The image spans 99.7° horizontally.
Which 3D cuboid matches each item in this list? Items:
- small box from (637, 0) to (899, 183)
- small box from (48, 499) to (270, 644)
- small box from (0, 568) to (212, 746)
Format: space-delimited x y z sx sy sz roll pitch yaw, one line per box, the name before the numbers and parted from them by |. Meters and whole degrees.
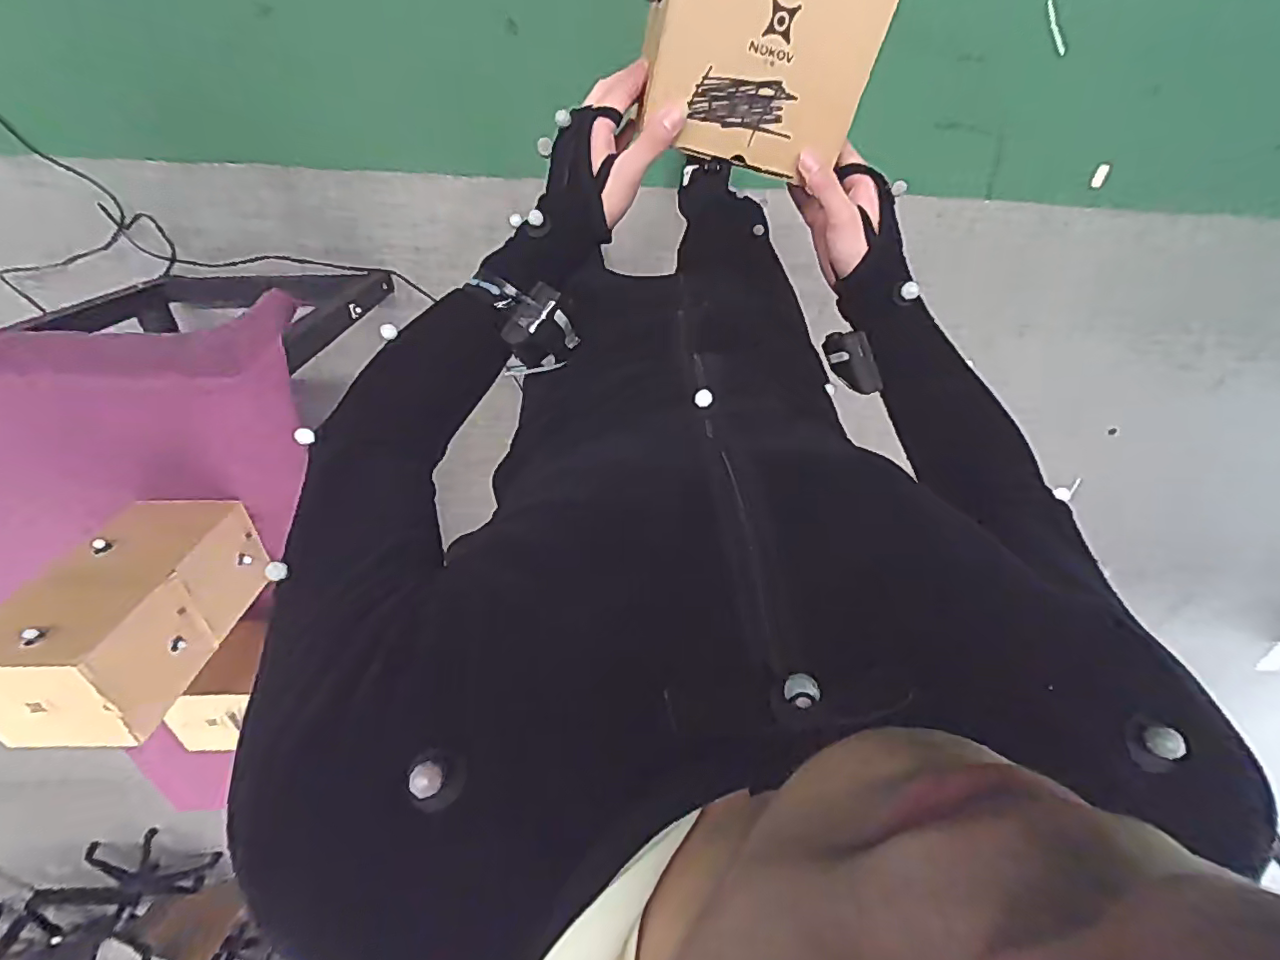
small box | 0.095 -0.383 0.464 0.168 0.176 0.179 8 125 -12
small box | -0.748 0.143 0.867 0.179 0.176 0.168 0 124 -3
small box | -0.744 0.233 0.732 0.179 0.176 0.168 0 123 -3
